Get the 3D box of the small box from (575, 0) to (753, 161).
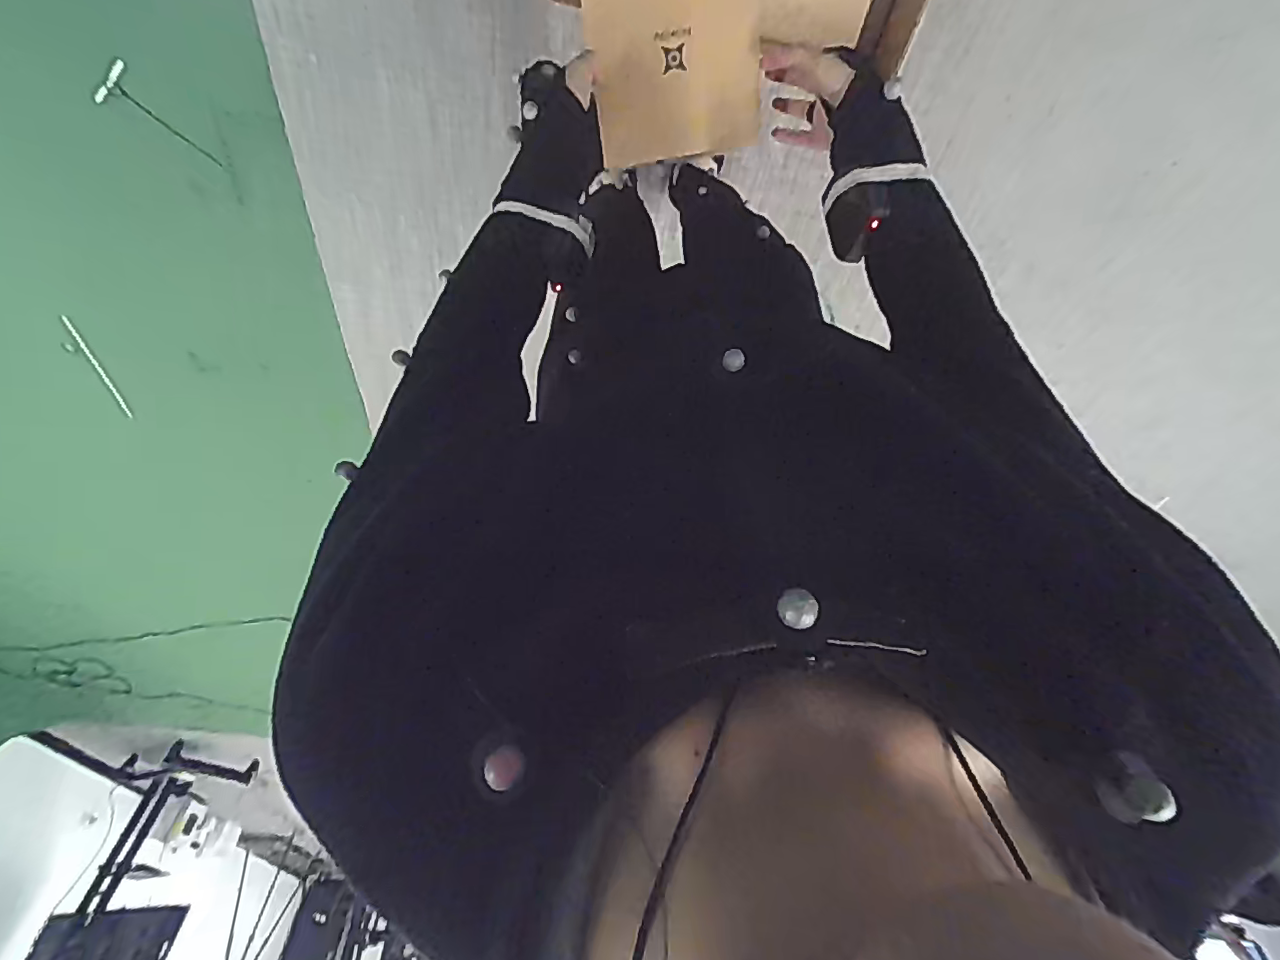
[{"bbox_3d":[0.028,-0.454,0.584,0.168,0.176,0.179,-6,118,4],"label":"small box"}]
